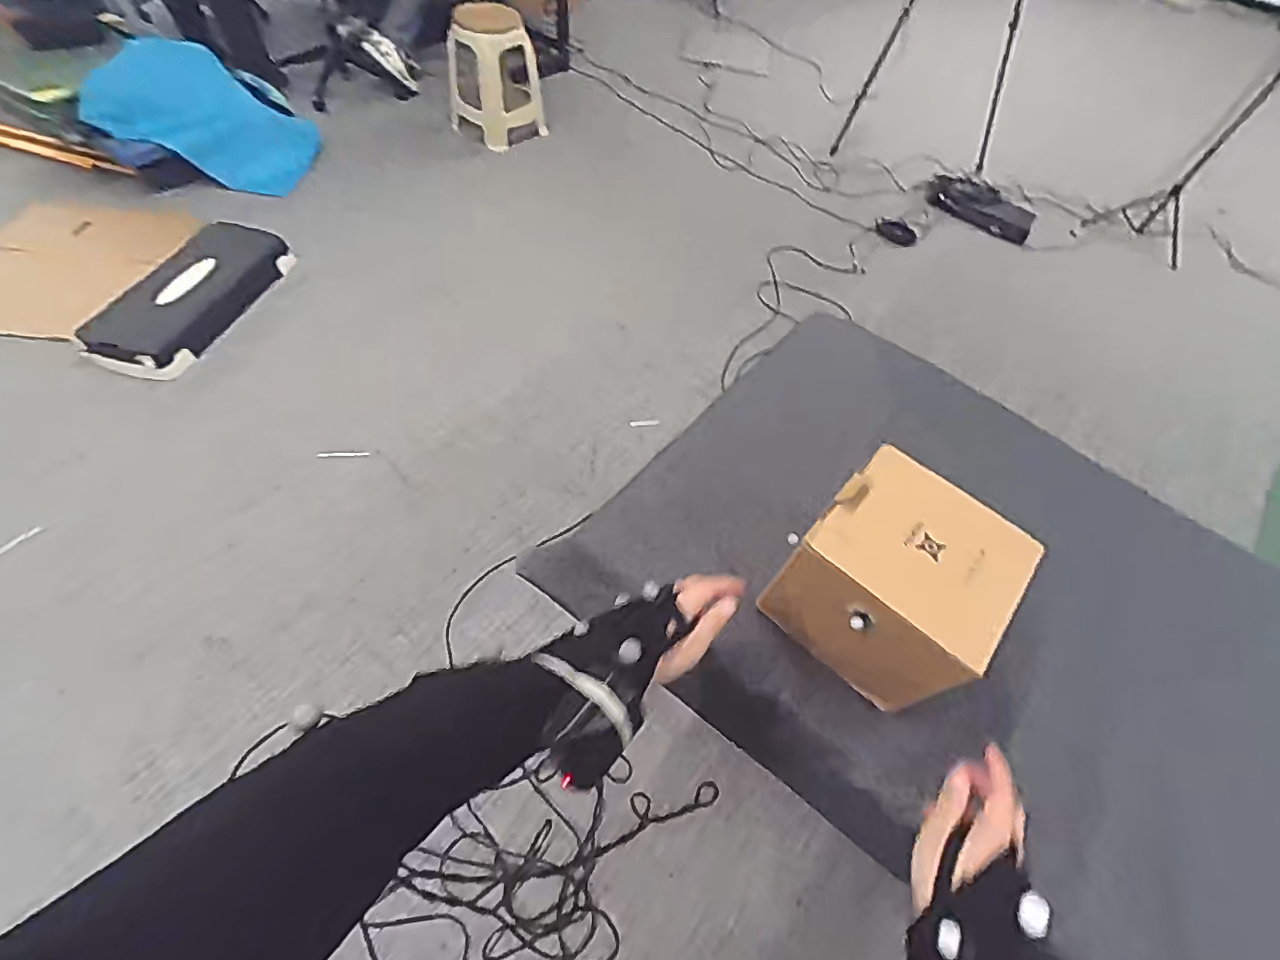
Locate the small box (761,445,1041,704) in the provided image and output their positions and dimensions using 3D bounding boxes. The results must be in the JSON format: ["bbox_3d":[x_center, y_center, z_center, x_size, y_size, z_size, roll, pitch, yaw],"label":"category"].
[{"bbox_3d":[0.255,0.104,0.565,0.179,0.176,0.168,40,61,18],"label":"small box"}]
